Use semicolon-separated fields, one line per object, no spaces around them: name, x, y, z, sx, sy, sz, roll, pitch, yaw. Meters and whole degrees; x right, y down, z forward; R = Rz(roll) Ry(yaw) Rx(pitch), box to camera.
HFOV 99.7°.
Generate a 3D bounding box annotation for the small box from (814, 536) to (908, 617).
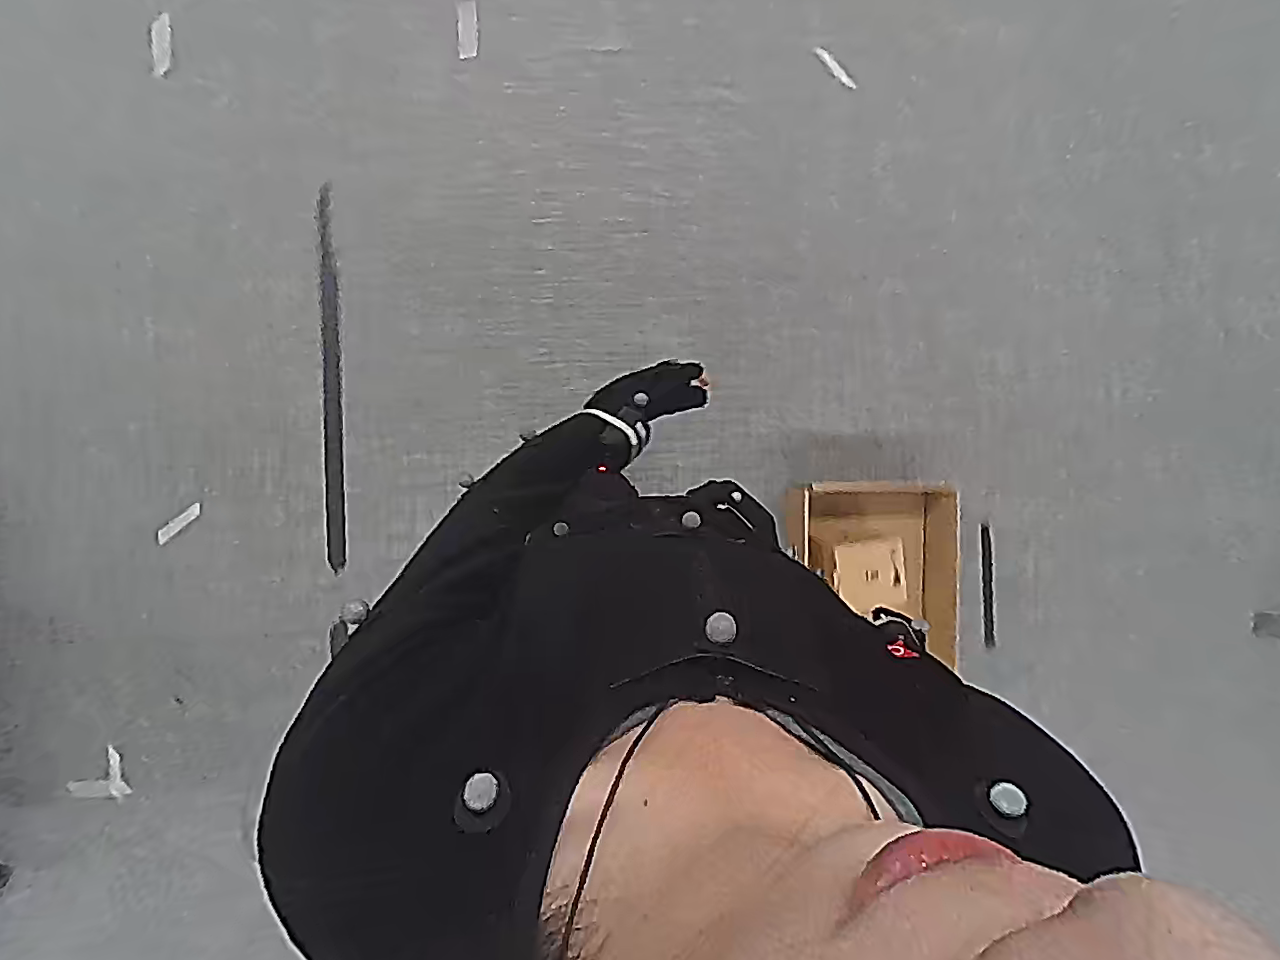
small box;0.564;0.245;1.402;0.179;0.176;0.168;-6;94;-3
